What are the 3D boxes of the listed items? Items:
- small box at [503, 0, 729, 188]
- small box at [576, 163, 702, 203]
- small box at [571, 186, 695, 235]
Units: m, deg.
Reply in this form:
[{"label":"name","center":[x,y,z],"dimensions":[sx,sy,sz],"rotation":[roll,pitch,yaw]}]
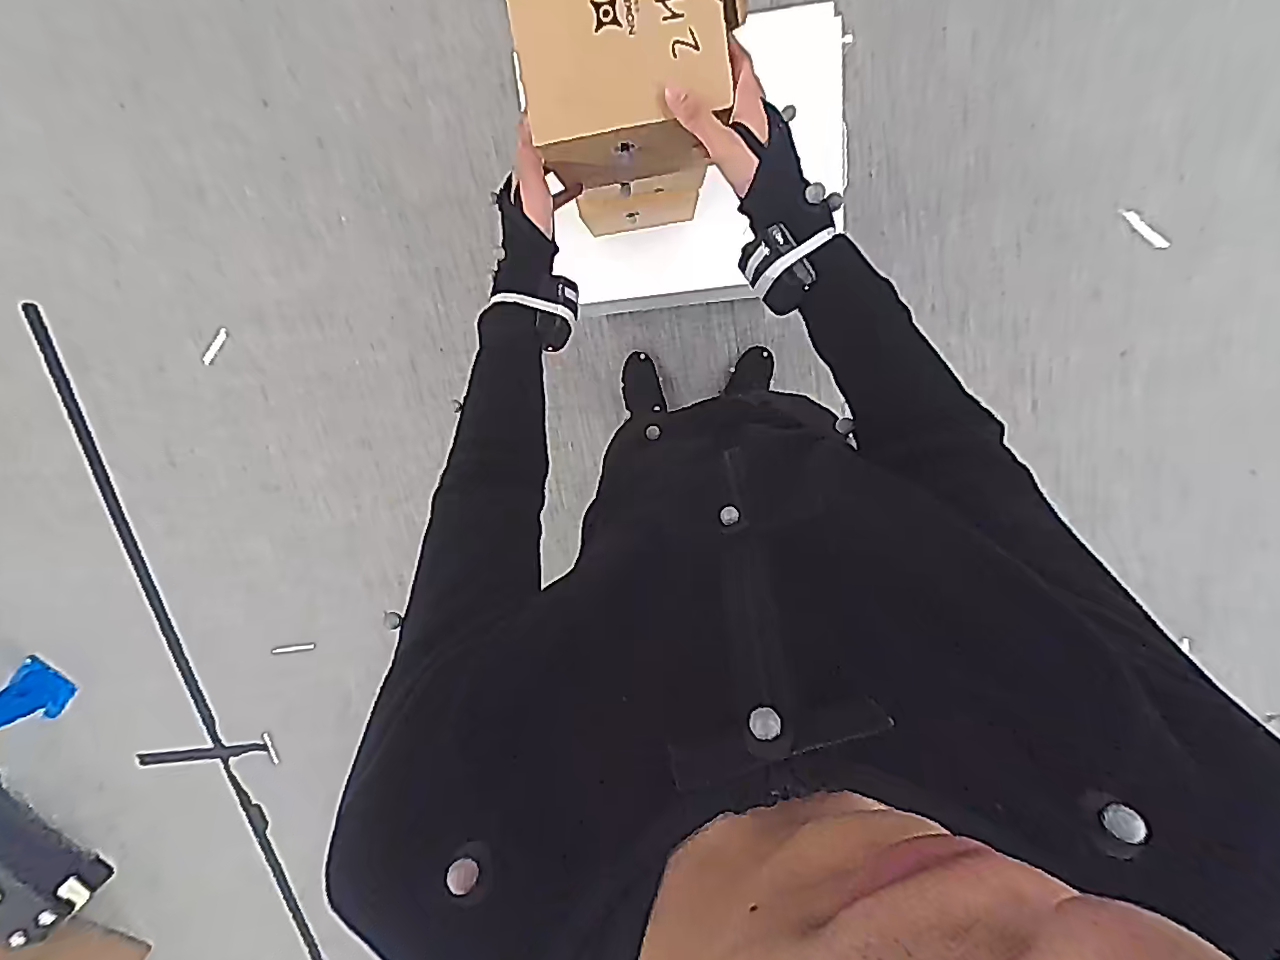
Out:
[{"label":"small box","center":[-0.017,-0.397,0.515],"dimensions":[0.179,0.176,0.168],"rotation":[-8,106,4]},{"label":"small box","center":[-0.011,-0.459,0.669],"dimensions":[0.168,0.176,0.179],"rotation":[-7,104,4]},{"label":"small box","center":[-0.015,-0.487,0.829],"dimensions":[0.179,0.176,0.168],"rotation":[-8,105,4]}]
